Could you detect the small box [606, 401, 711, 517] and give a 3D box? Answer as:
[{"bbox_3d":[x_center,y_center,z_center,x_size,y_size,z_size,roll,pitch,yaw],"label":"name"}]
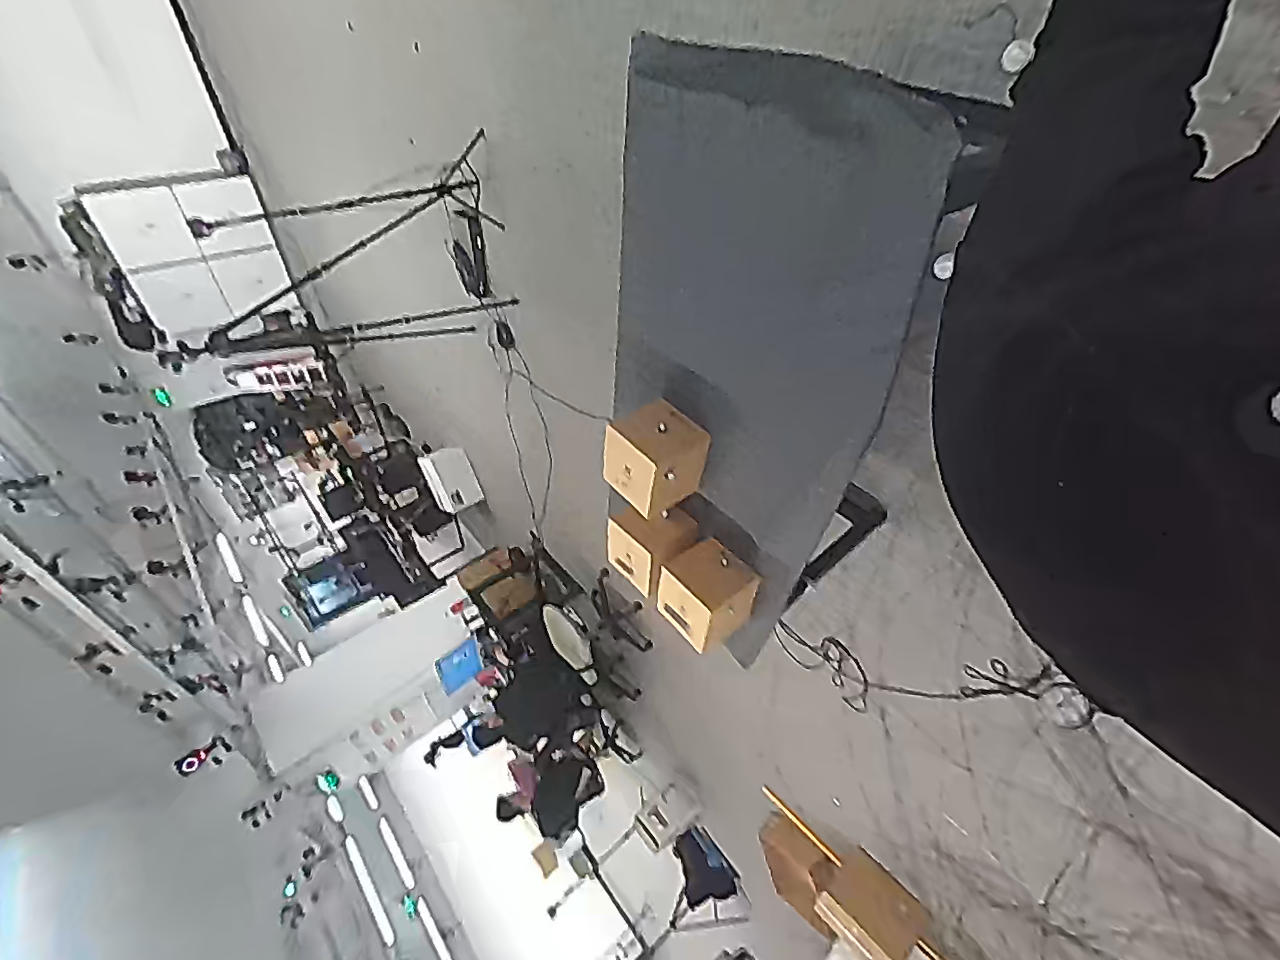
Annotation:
[{"bbox_3d":[0.042,-0.055,1.248,0.168,0.176,0.179,43,145,29],"label":"small box"}]
